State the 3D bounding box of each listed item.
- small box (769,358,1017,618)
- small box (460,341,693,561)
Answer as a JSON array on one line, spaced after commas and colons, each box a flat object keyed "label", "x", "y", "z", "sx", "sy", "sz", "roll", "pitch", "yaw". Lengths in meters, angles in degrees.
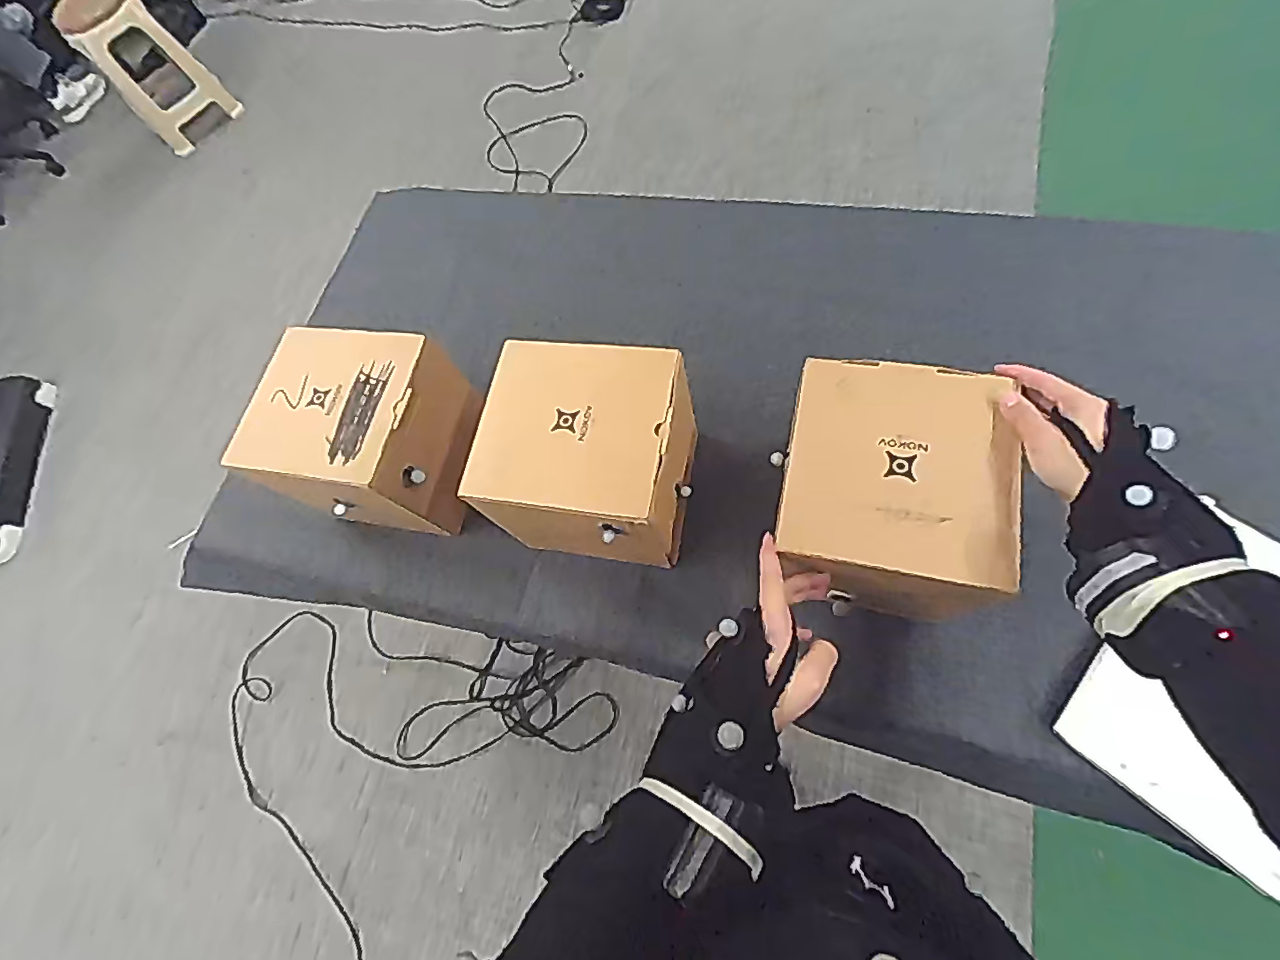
[{"label": "small box", "x": 0.213, "y": 0.015, "z": 0.493, "sx": 0.168, "sy": 0.176, "sz": 0.179, "roll": 9, "pitch": 71, "yaw": 15}, {"label": "small box", "x": -0.048, "y": -0.022, "z": 0.556, "sx": 0.179, "sy": 0.176, "sz": 0.168, "roll": 6, "pitch": 69, "yaw": 12}]
